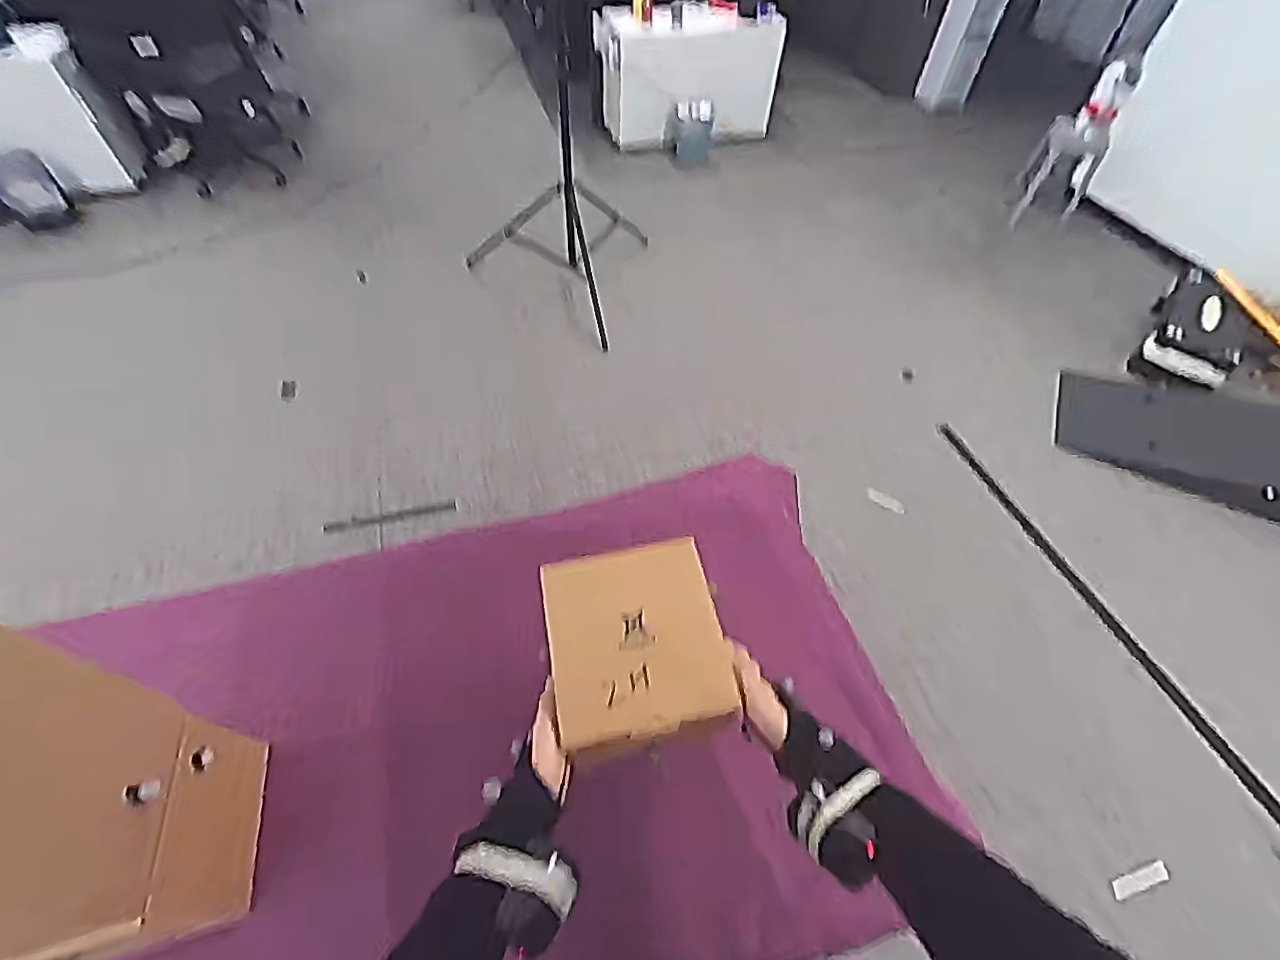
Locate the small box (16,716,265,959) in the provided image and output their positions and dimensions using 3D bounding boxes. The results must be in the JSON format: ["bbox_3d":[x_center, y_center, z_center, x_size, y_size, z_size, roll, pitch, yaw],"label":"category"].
[{"bbox_3d":[-0.510,0.364,0.540,0.168,0.176,0.179,-11,53,-11],"label":"small box"}]

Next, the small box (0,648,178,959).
[{"bbox_3d":[-0.506,0.259,0.414,0.168,0.176,0.179,-12,53,-12],"label":"small box"}]

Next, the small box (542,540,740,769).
[{"bbox_3d":[-0.007,0.191,0.584,0.168,0.176,0.179,-10,57,-6],"label":"small box"}]
